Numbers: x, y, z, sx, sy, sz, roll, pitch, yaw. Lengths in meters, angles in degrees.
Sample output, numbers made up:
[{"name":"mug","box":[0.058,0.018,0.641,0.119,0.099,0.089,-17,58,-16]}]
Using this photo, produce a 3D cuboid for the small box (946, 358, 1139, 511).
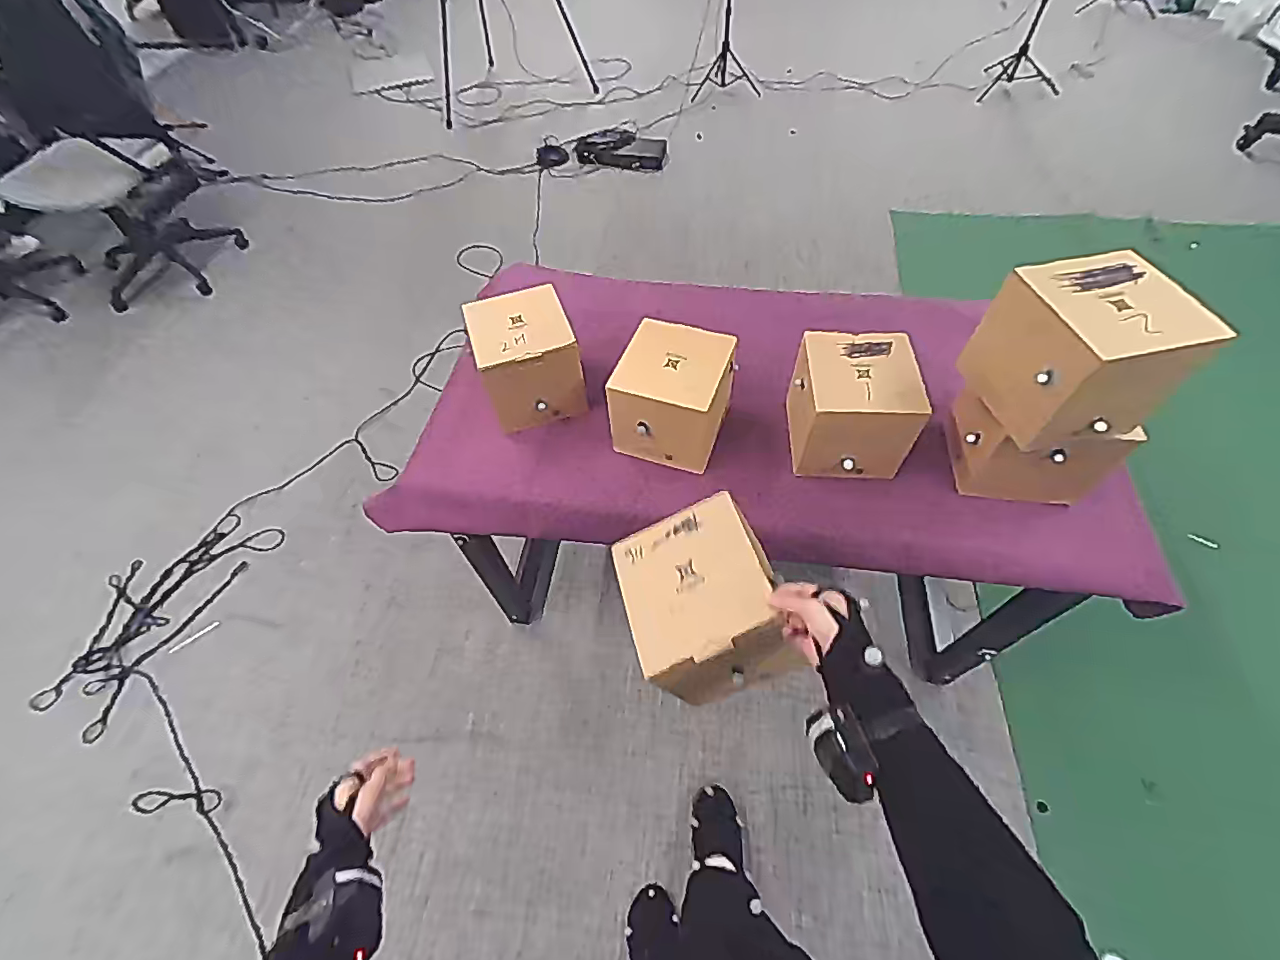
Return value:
[{"name":"small box","box":[0.605,-0.067,0.848,0.179,0.176,0.168,7,55,7]}]

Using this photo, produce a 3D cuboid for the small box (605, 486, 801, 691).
[{"name":"small box","box":[0.080,0.144,0.666,0.168,0.176,0.179,-26,51,10]}]

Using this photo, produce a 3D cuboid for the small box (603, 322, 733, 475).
[{"name":"small box","box":[0.052,-0.134,0.918,0.168,0.176,0.179,16,56,13]}]

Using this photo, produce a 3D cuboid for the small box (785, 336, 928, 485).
[{"name":"small box","box":[0.340,-0.112,0.890,0.168,0.176,0.179,2,55,4]}]

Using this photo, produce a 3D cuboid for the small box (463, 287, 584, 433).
[{"name":"small box","box":[-0.207,-0.215,0.979,0.168,0.176,0.179,-17,56,-9]}]
